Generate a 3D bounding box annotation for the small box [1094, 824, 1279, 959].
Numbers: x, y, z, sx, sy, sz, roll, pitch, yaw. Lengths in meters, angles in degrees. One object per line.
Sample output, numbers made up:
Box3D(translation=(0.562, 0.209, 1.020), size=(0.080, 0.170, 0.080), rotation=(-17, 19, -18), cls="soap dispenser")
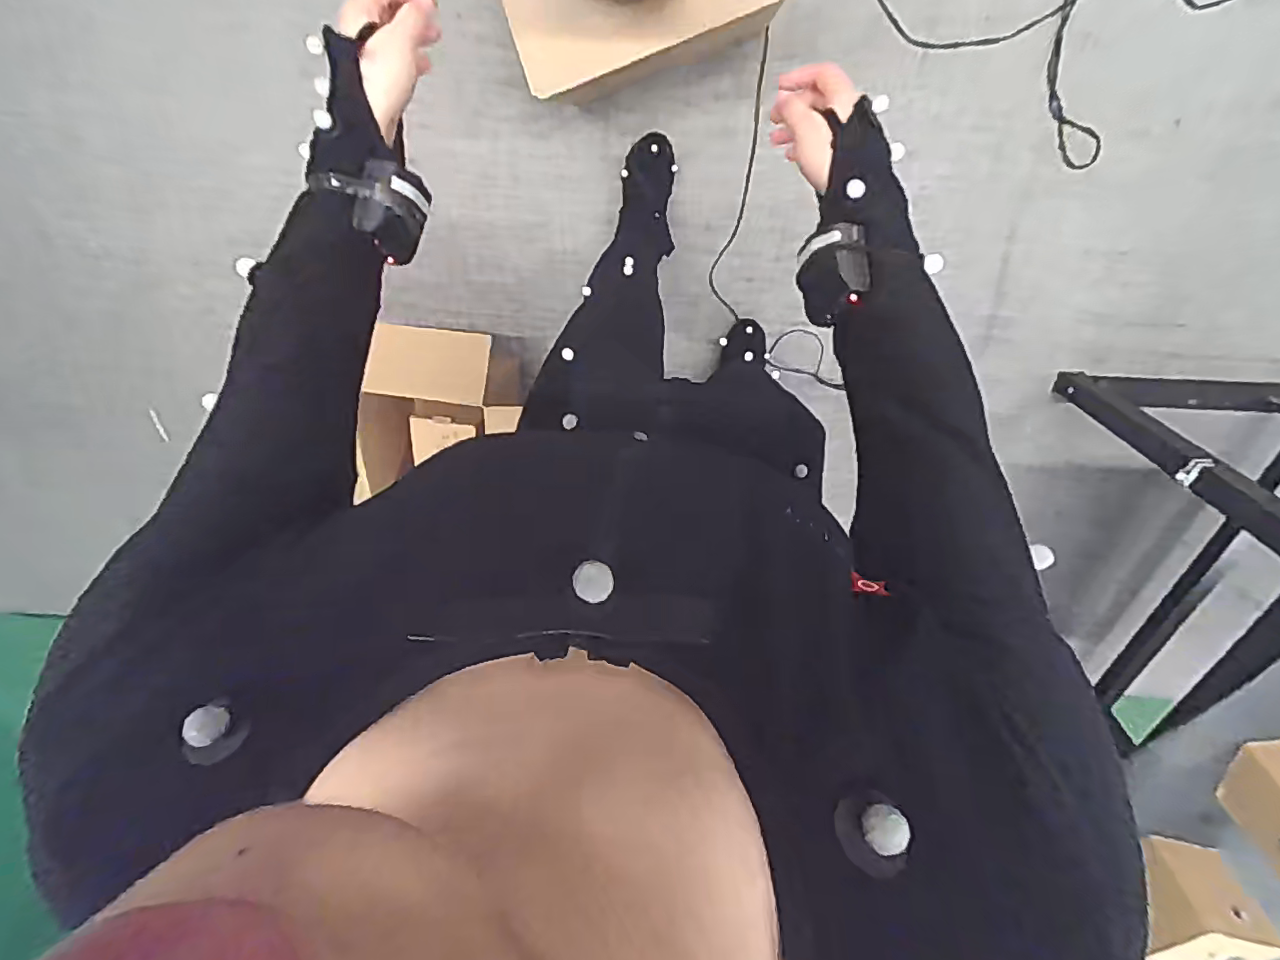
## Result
Box3D(translation=(1.100, 0.833, 1.099), size=(0.179, 0.176, 0.168), rotation=(16, 123, -6), cls="small box")
